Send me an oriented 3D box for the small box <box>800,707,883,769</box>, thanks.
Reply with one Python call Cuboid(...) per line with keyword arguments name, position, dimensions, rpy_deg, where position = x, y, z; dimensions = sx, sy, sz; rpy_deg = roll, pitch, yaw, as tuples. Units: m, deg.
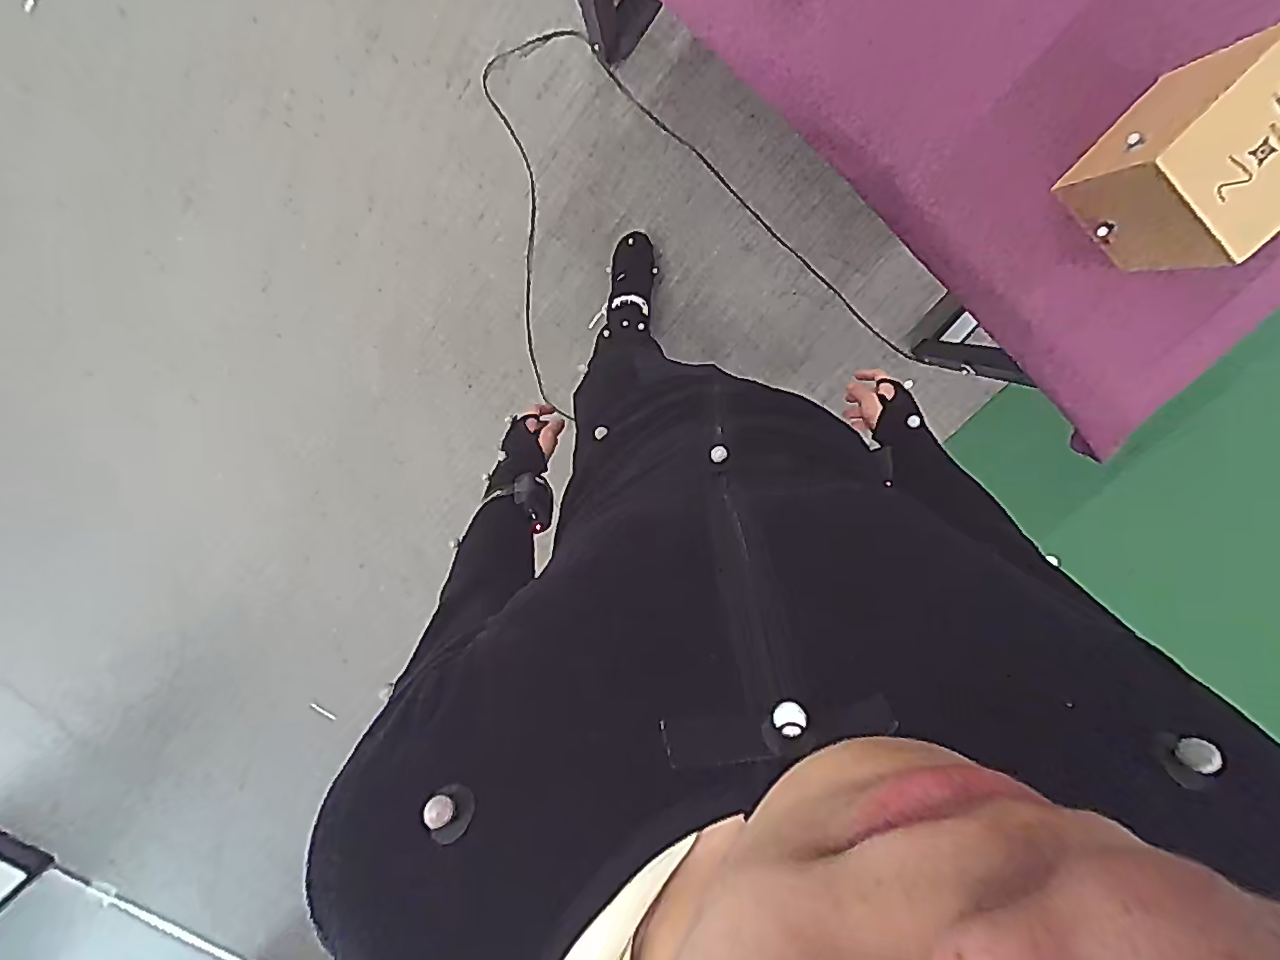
Cuboid(name="small box", position=(0.673, 0.906, 1.821), dimensions=(0.179, 0.176, 0.168), rpy_deg=(41, 104, -11))
